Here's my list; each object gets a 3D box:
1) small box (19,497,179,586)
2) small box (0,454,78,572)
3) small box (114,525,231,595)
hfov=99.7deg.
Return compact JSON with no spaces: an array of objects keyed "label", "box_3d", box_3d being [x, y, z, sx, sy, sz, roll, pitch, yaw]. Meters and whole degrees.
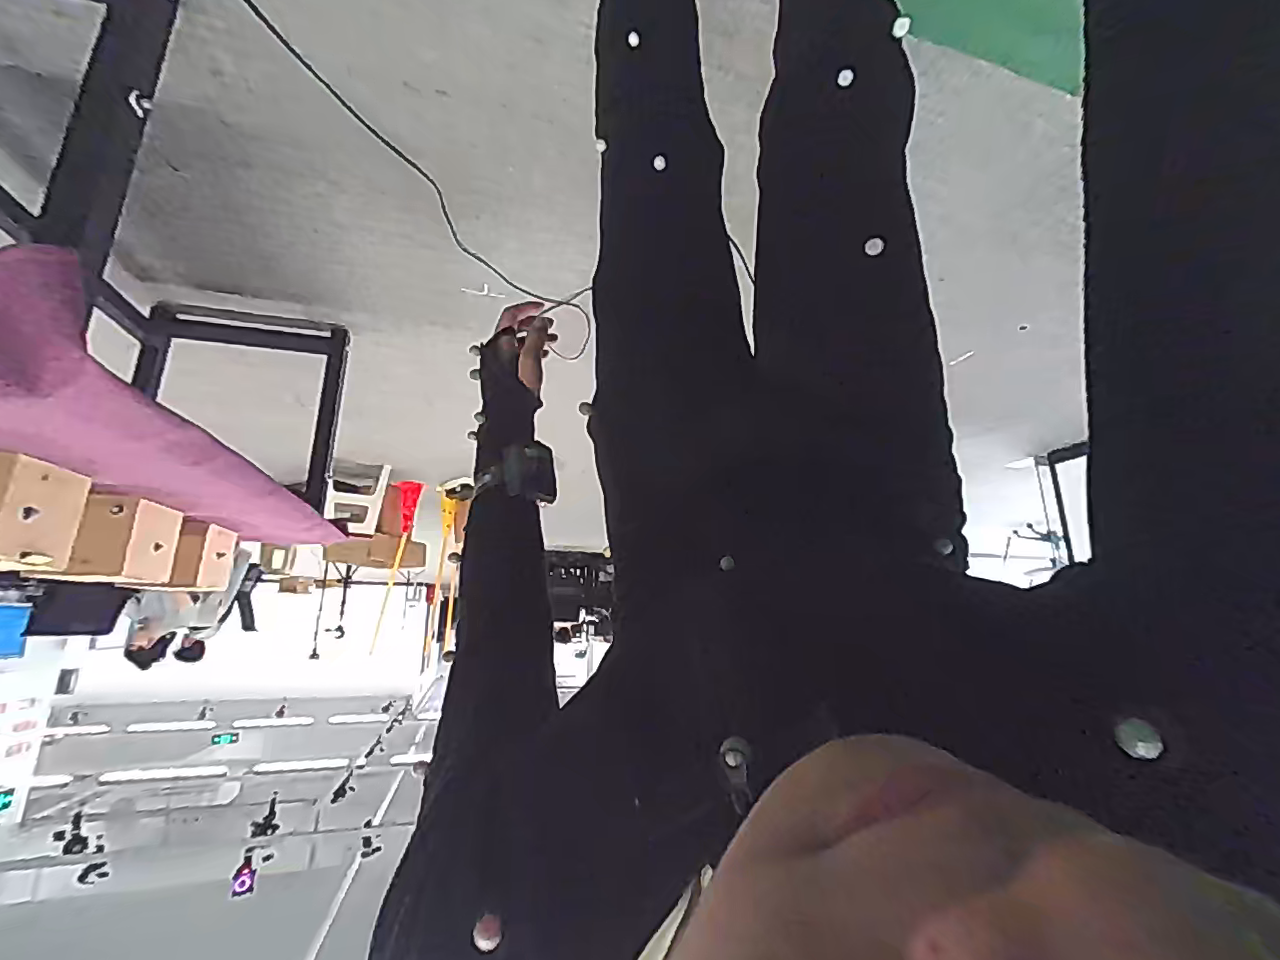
[{"label":"small box","box_3d":[-1.134,0.135,1.151,0.168,0.176,0.179,4,165,-14]},{"label":"small box","box_3d":[-1.051,0.052,0.853,0.179,0.176,0.168,5,164,-15]},{"label":"small box","box_3d":[-1.213,0.210,1.421,0.179,0.176,0.168,3,163,-14]}]
